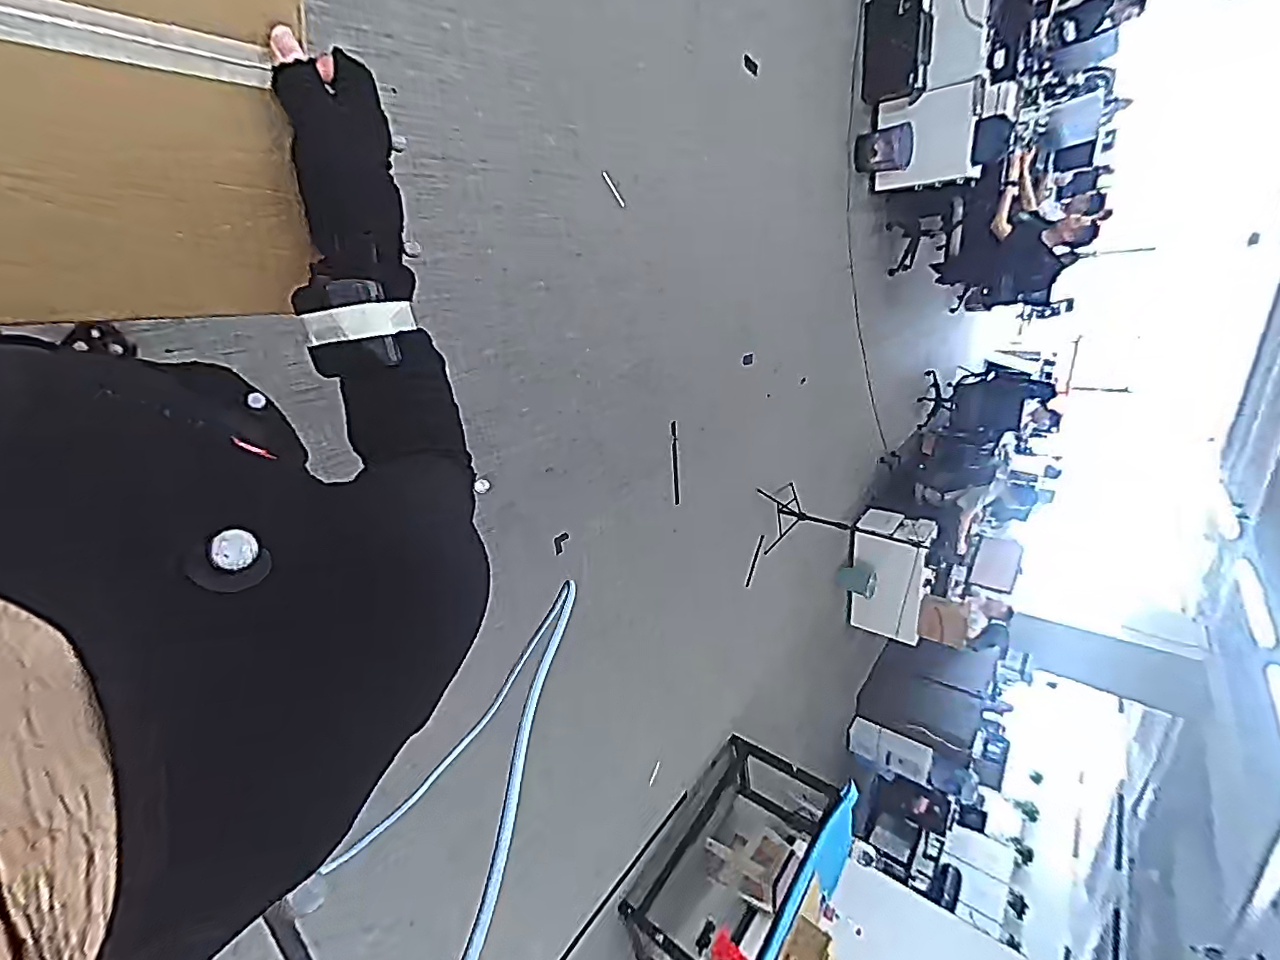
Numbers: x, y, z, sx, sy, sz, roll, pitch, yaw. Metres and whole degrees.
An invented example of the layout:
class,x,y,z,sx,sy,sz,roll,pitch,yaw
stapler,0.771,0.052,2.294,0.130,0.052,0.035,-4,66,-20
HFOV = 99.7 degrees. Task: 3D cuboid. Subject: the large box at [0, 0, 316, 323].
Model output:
class,x,y,z,sx,sy,sz,roll,pitch,yaw
large box,-0.458,-0.294,0.291,0.408,0.320,0.320,-20,141,-41
